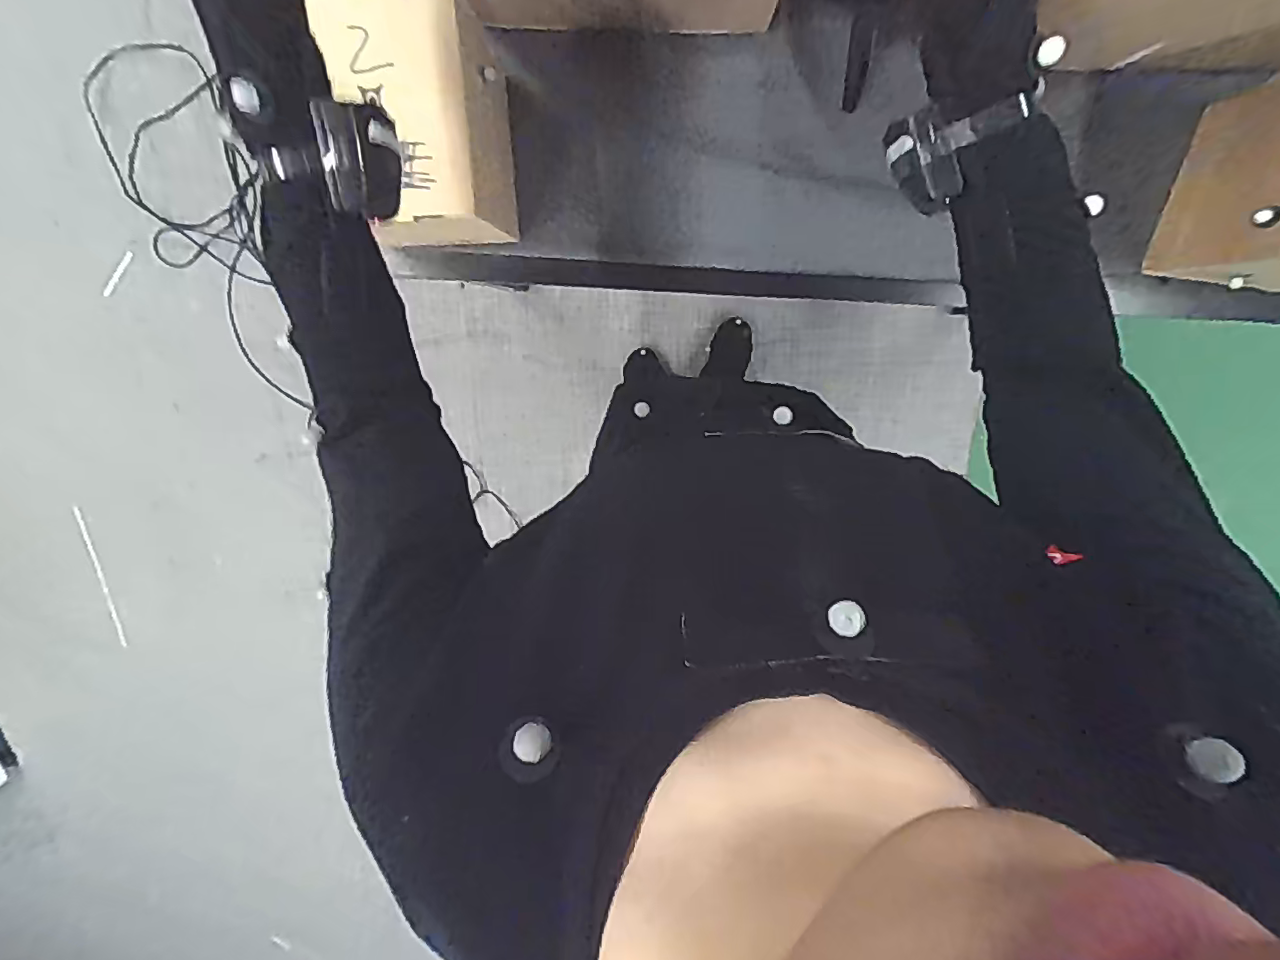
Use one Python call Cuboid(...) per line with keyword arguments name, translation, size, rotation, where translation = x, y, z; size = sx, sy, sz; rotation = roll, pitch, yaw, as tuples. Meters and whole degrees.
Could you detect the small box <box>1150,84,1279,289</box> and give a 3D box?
Cuboid(name="small box", translation=(0.685, -0.295, 0.543), size=(0.168, 0.176, 0.179), rotation=(8, 109, 1))
